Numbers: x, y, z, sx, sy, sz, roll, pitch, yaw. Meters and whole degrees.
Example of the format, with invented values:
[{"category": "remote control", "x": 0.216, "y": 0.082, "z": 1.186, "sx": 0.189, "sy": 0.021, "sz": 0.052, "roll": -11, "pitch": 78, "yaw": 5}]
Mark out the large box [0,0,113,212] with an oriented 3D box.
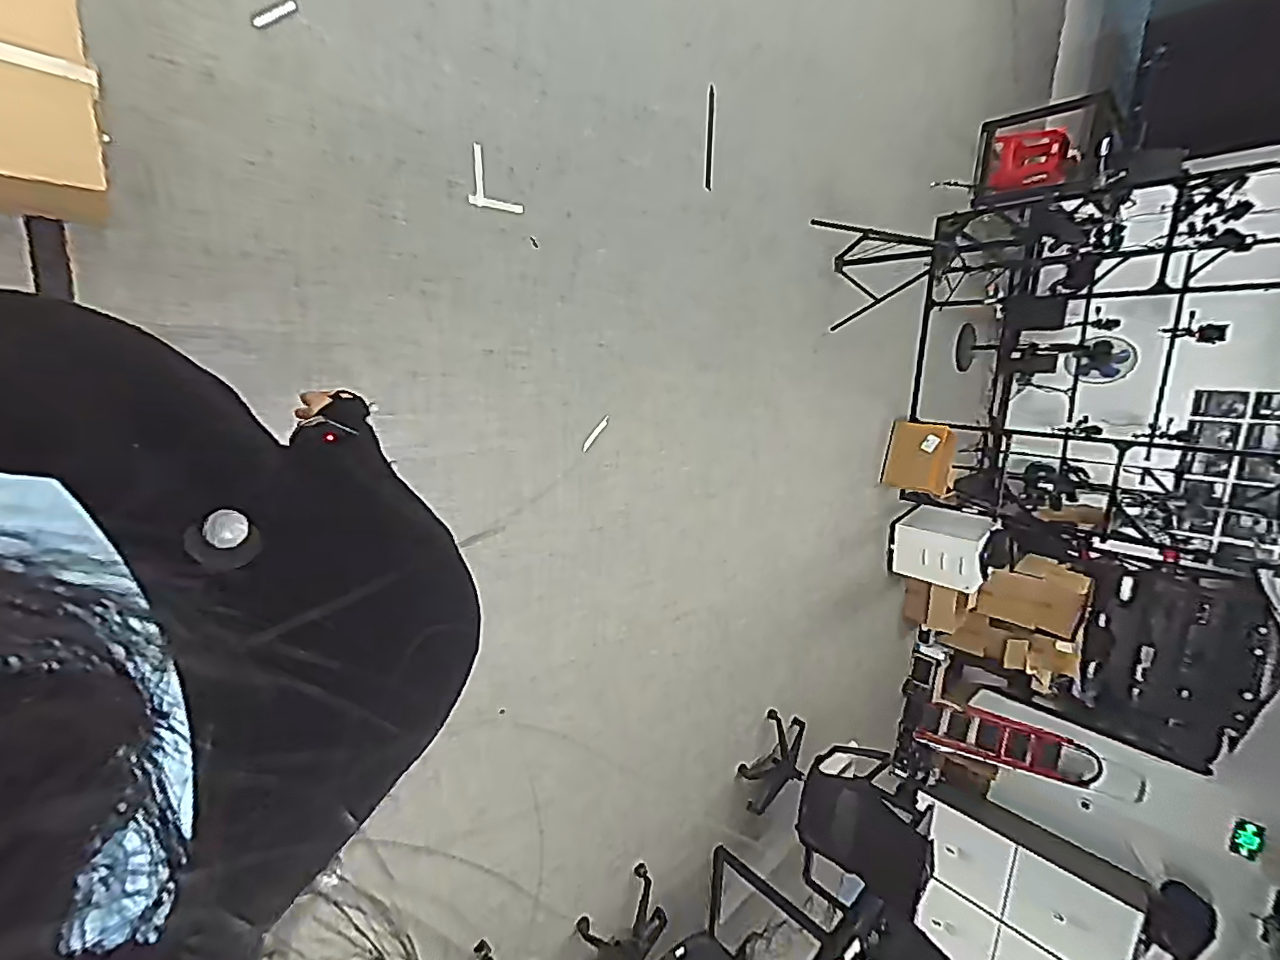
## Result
[{"category": "large box", "x": -1.064, "y": -0.608, "z": 0.776, "sx": 0.408, "sy": 0.320, "sz": 0.320, "roll": -9, "pitch": 105, "yaw": -42}]
